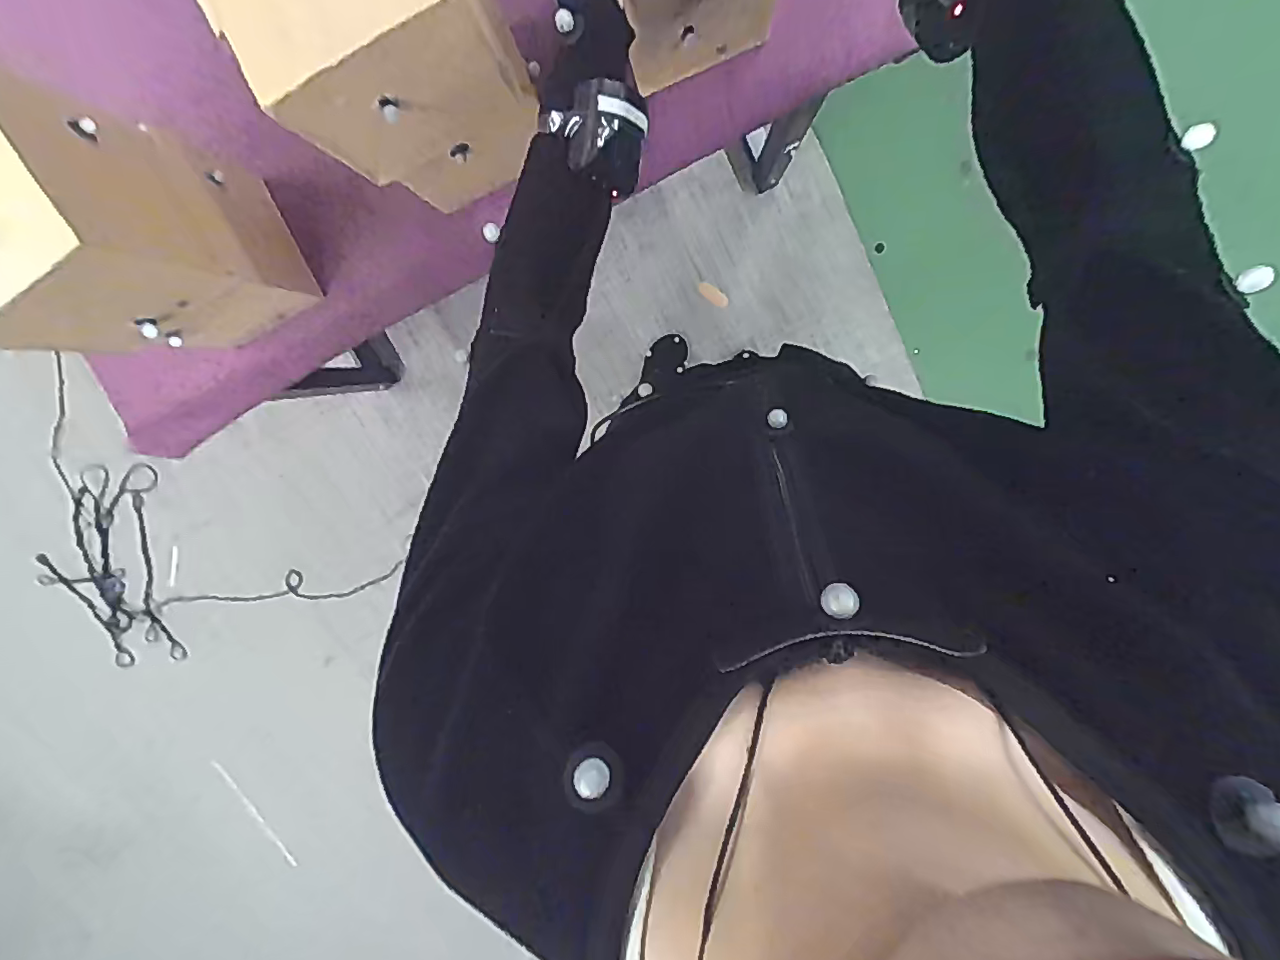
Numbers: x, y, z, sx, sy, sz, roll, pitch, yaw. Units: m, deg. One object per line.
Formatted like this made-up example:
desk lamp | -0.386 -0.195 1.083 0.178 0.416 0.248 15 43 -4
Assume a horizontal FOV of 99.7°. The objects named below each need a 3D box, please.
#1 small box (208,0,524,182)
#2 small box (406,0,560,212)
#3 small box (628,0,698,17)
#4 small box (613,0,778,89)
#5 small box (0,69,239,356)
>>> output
small box | -0.226 -0.392 0.459 0.179 0.176 0.168 -24 98 9
small box | -0.213 -0.439 0.616 0.179 0.176 0.168 -23 98 7
small box | 0.037 -0.514 0.416 0.168 0.176 0.179 -22 98 8
small box | 0.048 -0.561 0.575 0.168 0.176 0.179 -19 98 8
small box | -0.547 -0.233 0.512 0.168 0.176 0.179 -29 97 9
